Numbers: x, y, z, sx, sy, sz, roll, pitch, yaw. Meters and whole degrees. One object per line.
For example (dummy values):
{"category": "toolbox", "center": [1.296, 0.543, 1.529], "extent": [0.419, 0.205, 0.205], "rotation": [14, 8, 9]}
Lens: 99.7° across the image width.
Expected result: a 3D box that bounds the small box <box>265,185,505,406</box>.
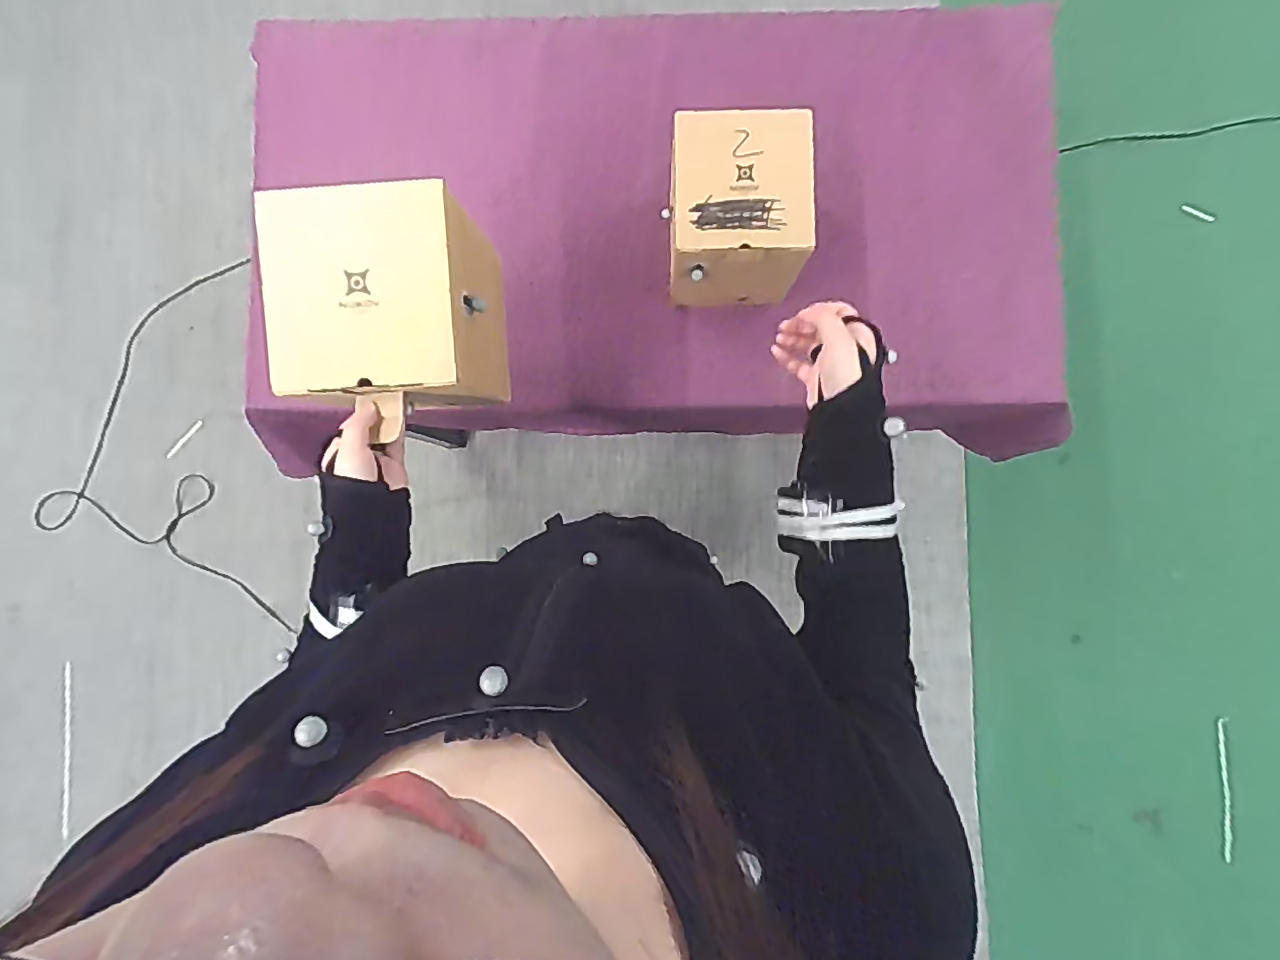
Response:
{"category": "small box", "center": [-0.245, -0.174, 0.560], "extent": [0.168, 0.176, 0.179], "rotation": [-3, 94, 1]}
